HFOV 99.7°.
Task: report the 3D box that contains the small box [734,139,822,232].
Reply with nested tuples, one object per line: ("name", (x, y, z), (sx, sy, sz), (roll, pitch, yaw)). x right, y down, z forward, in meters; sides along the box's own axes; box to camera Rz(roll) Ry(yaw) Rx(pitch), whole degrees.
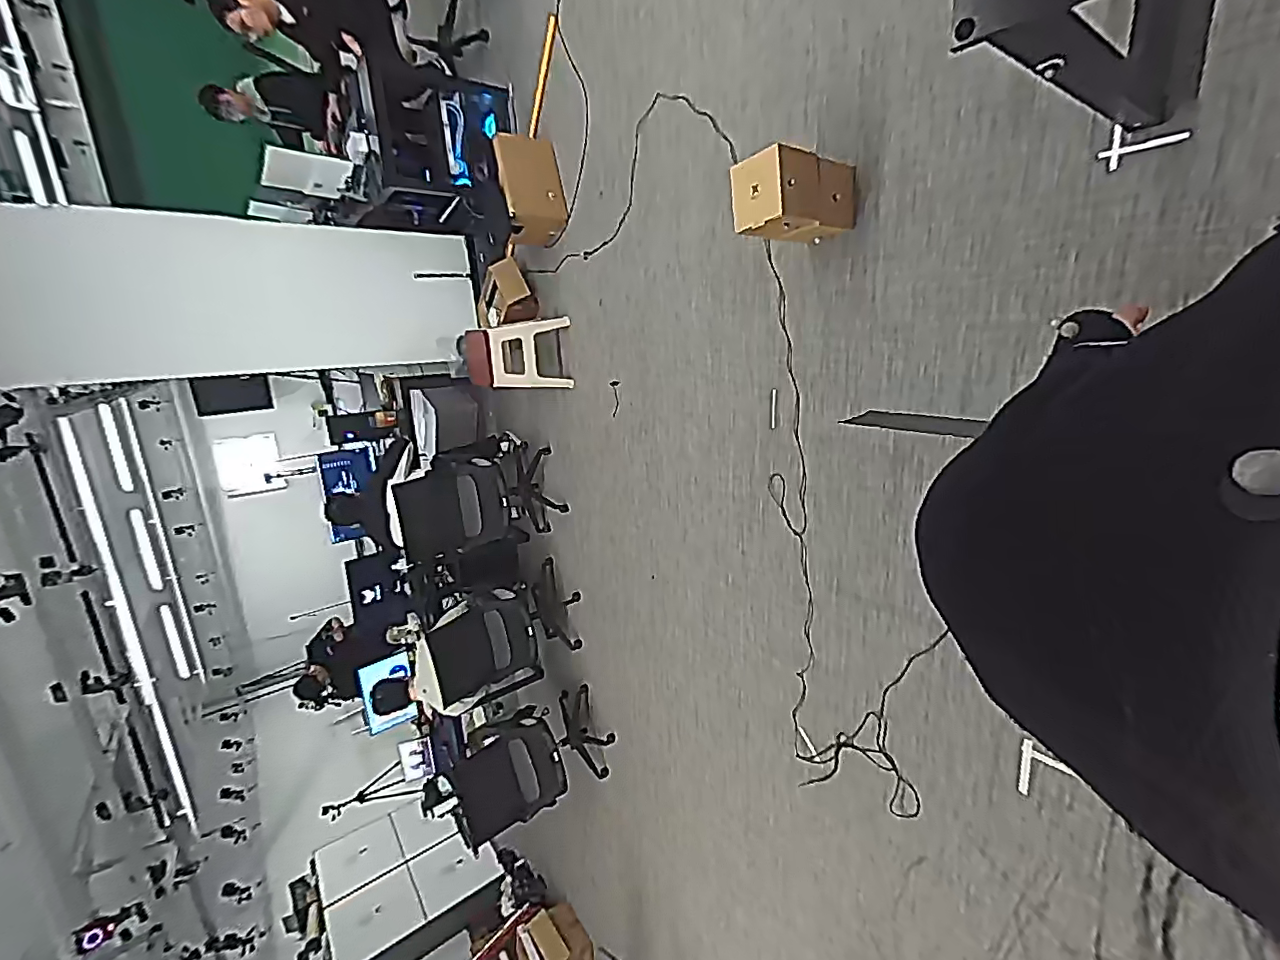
("small box", (0.379, -0.789, 1.471), (0.168, 0.176, 0.179), (7, 105, 53))

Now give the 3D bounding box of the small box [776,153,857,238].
("small box", (0.510, -0.813, 1.564), (0.168, 0.176, 0.179), (12, 111, 53))
